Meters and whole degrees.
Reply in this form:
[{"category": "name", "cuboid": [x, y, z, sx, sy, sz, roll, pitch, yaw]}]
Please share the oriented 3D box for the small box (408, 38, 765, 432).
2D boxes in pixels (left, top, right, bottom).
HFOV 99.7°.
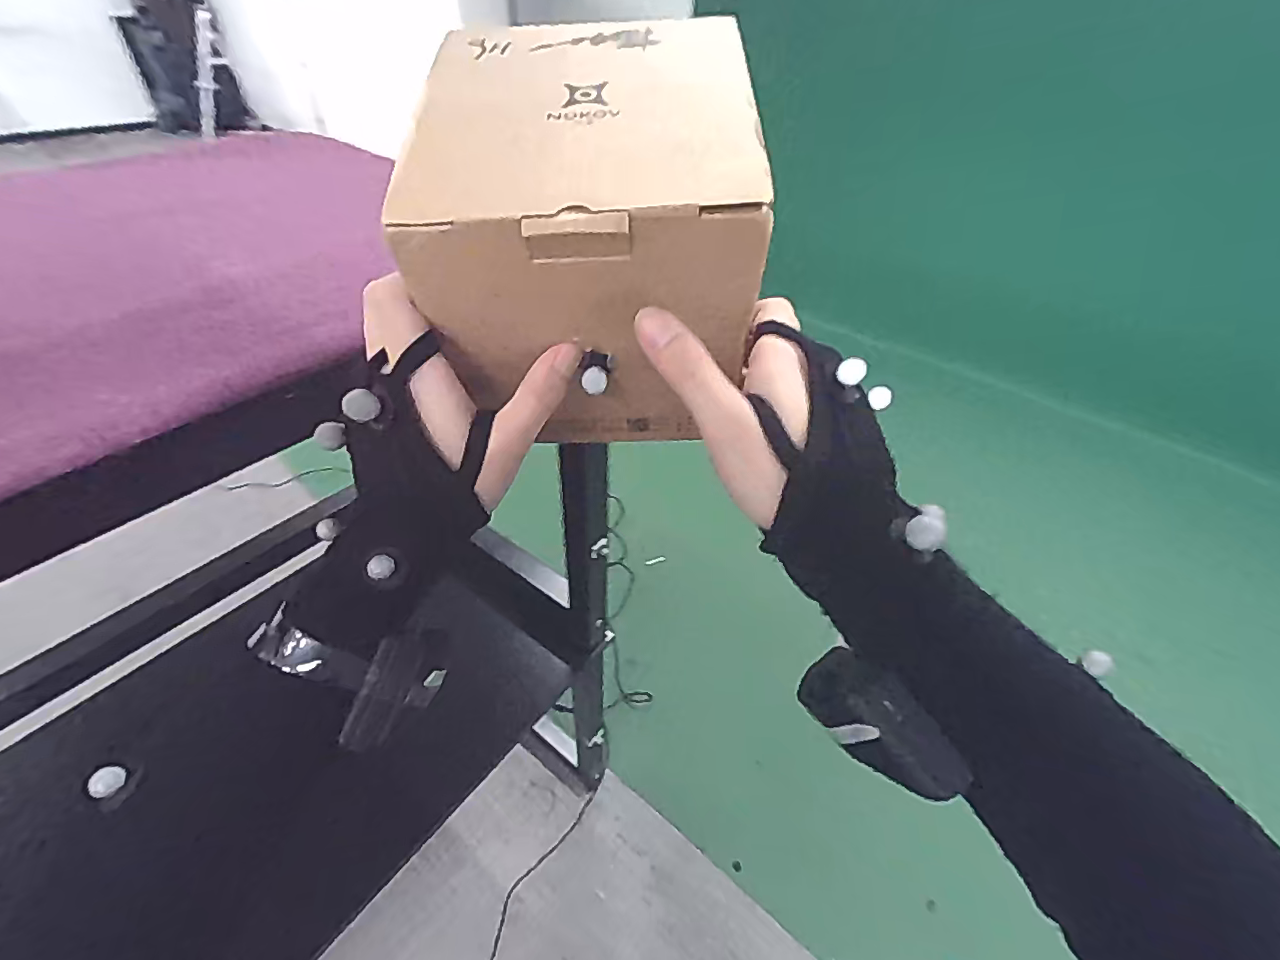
[{"category": "small box", "cuboid": [-0.021, -0.142, 0.349, 0.168, 0.176, 0.179, -1, 60, 1]}]
